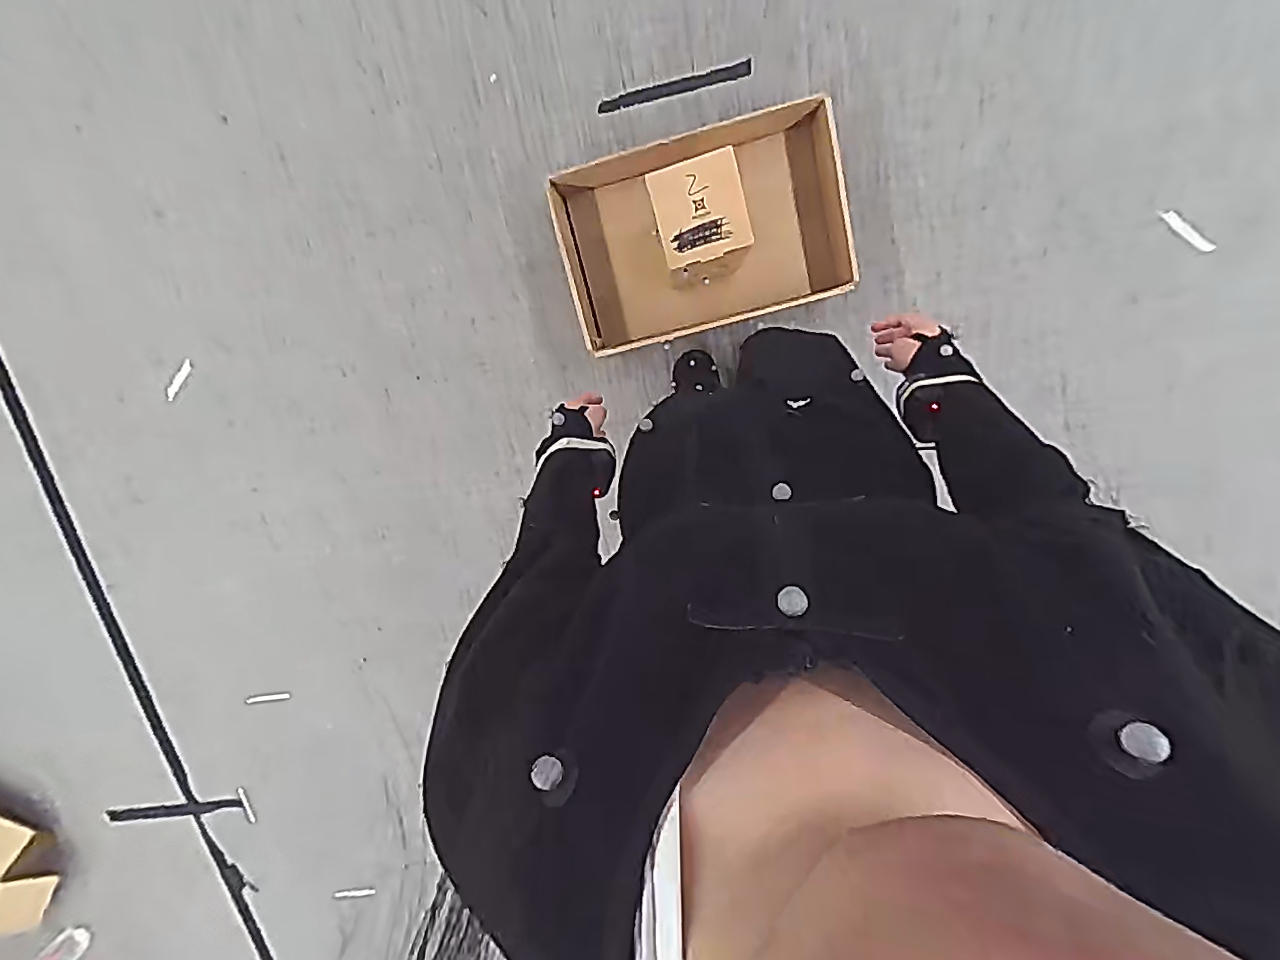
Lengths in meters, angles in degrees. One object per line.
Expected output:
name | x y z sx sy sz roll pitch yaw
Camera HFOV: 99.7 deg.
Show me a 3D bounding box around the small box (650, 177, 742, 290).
small box | 0.123 -0.548 1.227 0.168 0.176 0.179 -15 102 7
